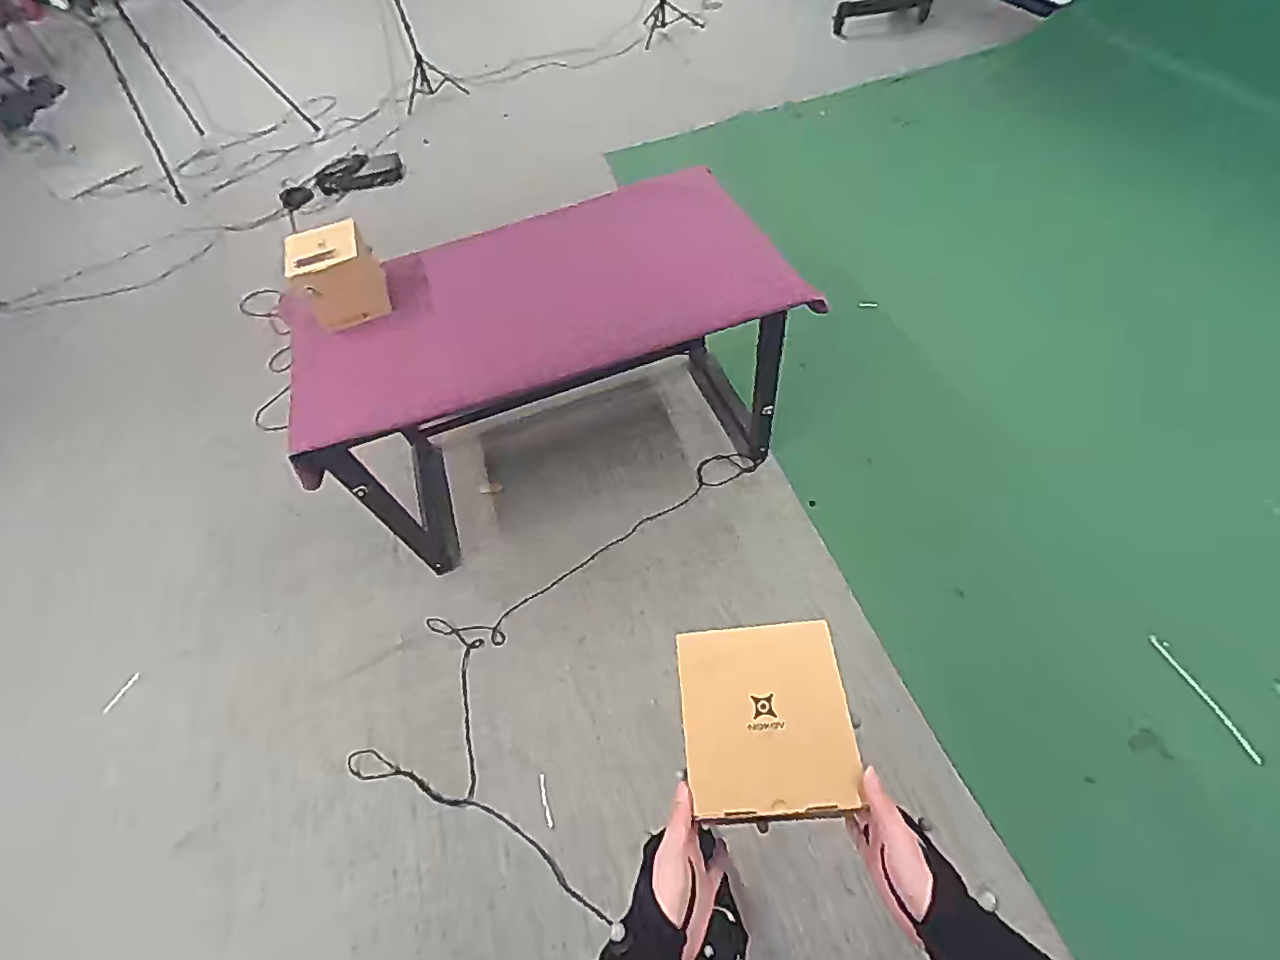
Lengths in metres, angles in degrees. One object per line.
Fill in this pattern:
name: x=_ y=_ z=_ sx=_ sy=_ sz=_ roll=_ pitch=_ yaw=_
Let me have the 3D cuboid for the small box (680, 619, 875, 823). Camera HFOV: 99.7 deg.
small box: x=0.135 y=0.271 z=0.600 sx=0.168 sy=0.176 sz=0.179 roll=-7 pitch=57 yaw=5
